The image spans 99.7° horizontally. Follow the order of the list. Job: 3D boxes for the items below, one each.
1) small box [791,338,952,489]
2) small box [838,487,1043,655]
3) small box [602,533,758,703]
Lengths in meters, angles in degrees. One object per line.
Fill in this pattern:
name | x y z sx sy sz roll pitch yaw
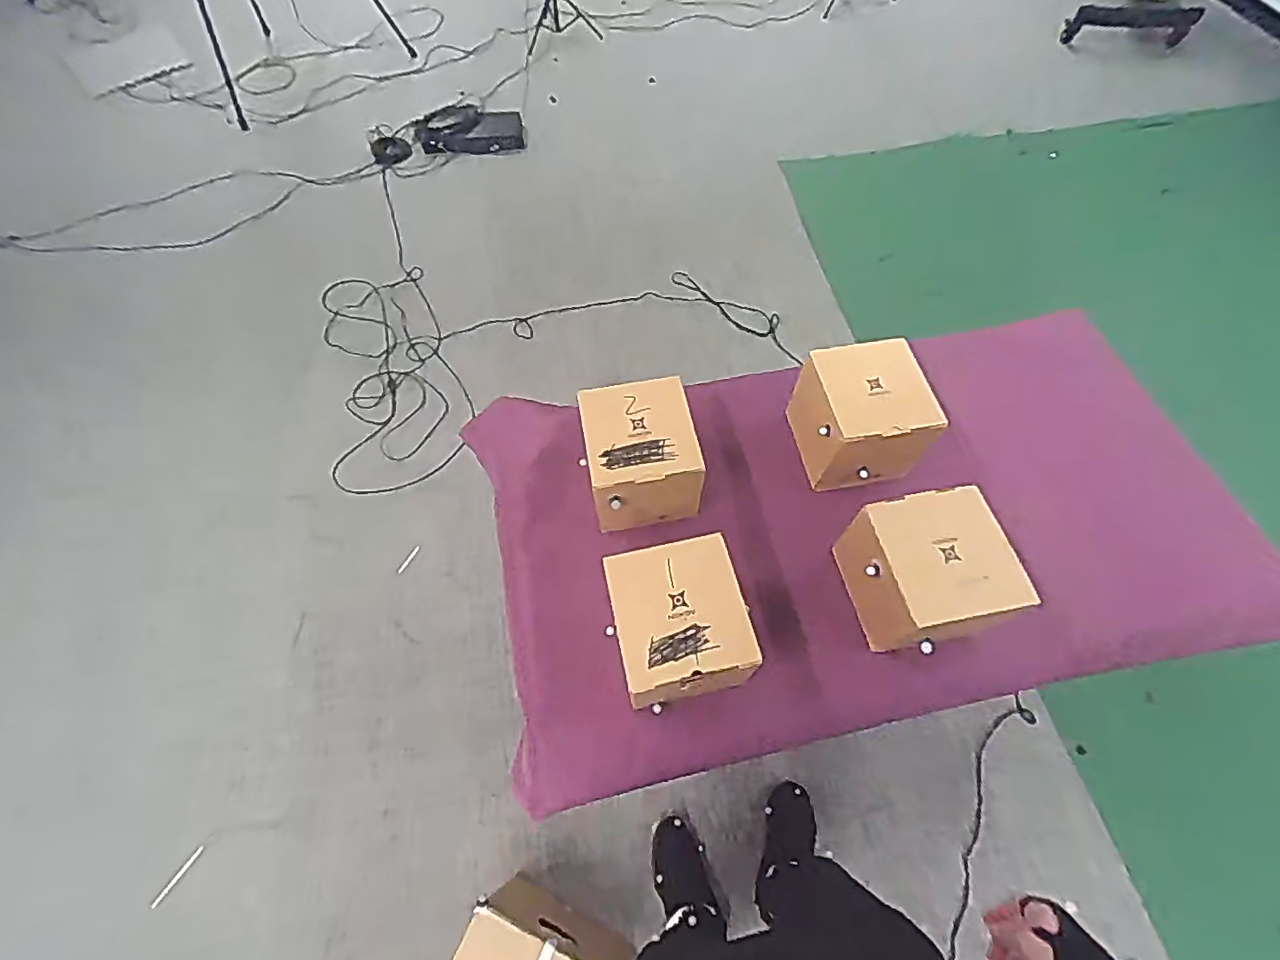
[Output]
small box | 0.366 -0.106 0.898 0.168 0.176 0.179 -8 63 -4
small box | 0.404 0.134 0.769 0.168 0.176 0.179 -9 62 -3
small box | 0.048 0.197 0.741 0.168 0.176 0.179 -11 61 -5
